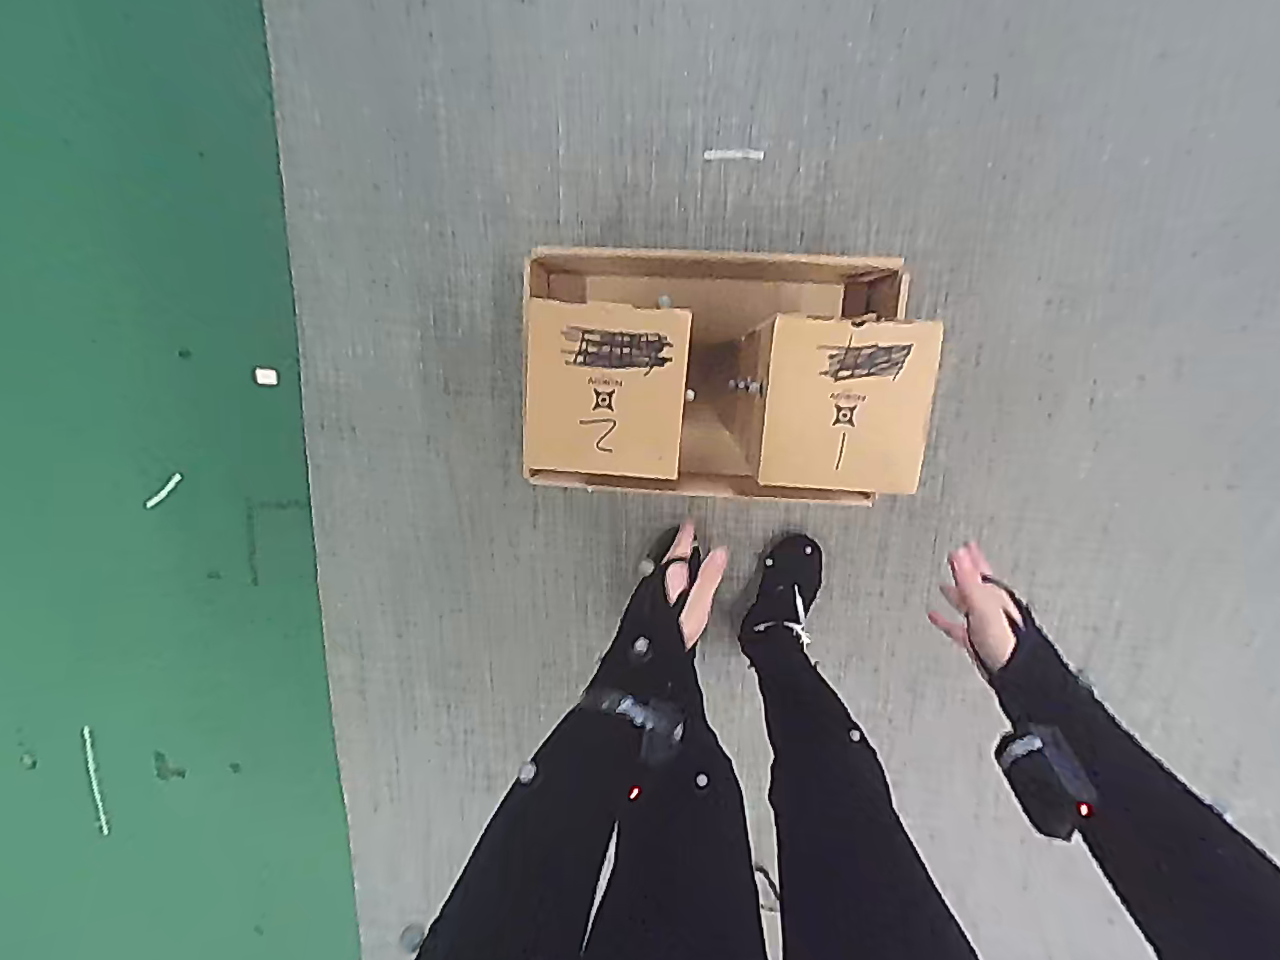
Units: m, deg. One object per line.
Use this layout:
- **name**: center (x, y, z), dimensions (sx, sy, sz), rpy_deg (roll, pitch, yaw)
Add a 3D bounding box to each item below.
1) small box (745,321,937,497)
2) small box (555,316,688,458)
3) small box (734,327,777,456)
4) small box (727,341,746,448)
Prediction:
- **small box**: center (0.221, -0.088, 0.644), dimensions (0.168, 0.176, 0.179), rpy_deg (4, 102, 5)
- **small box**: center (-0.024, -0.138, 0.811), dimensions (0.168, 0.176, 0.179), rpy_deg (7, 101, 2)
- **small box**: center (0.235, -0.125, 0.803), dimensions (0.168, 0.176, 0.179), rpy_deg (5, 102, 4)
- **small box**: center (0.248, -0.152, 0.963), dimensions (0.168, 0.176, 0.179), rpy_deg (3, 102, 3)
